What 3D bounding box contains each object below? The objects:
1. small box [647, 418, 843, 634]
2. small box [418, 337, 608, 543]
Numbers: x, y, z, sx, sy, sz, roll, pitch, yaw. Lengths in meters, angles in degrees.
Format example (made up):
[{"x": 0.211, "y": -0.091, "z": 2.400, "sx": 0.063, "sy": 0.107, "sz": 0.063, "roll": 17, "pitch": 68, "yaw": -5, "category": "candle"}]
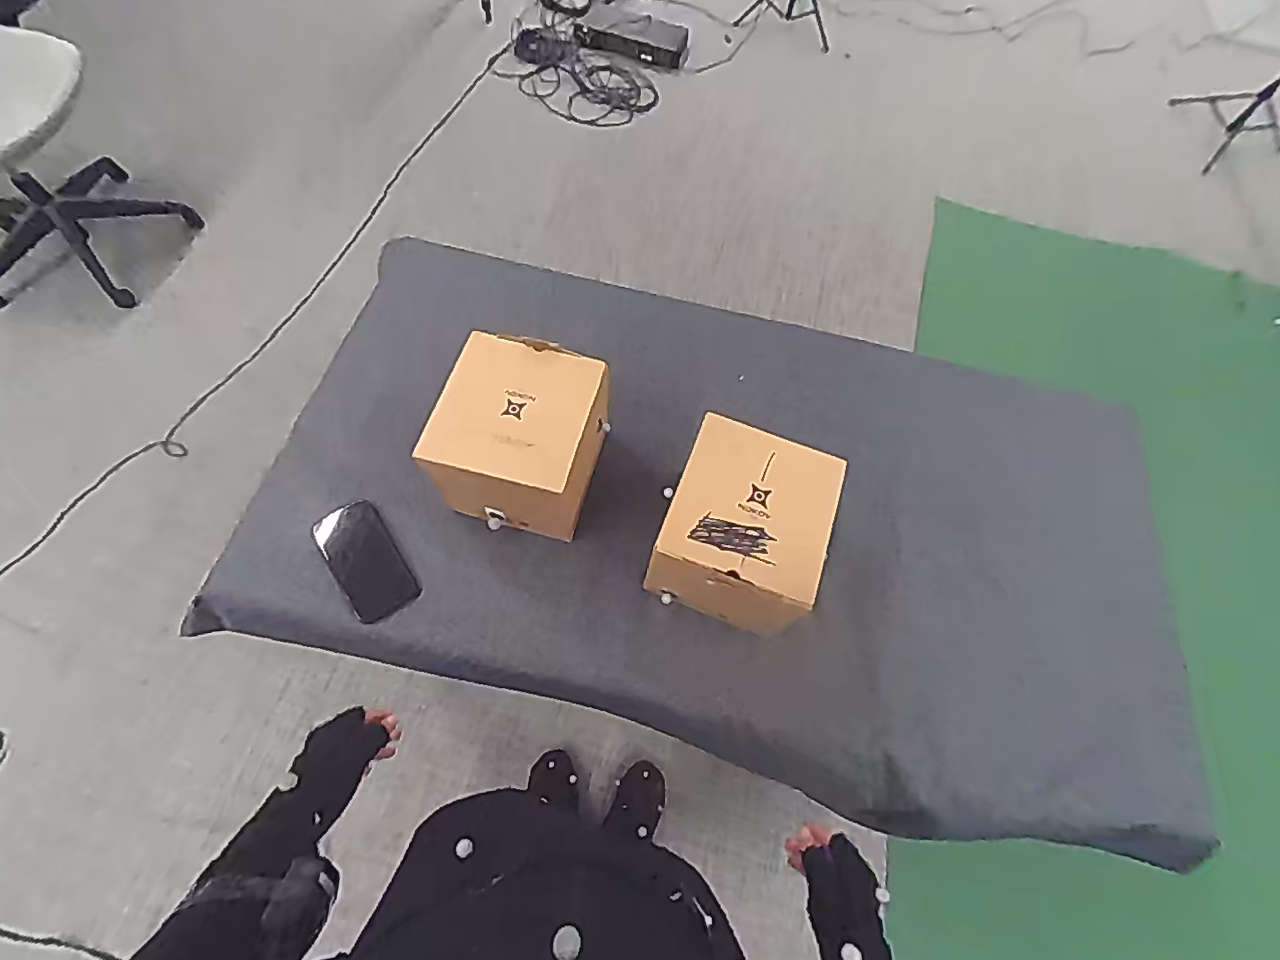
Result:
[{"x": 0.113, "y": 0.063, "z": 0.637, "sx": 0.168, "sy": 0.176, "sz": 0.179, "roll": 21, "pitch": 64, "yaw": 6, "category": "small box"}, {"x": -0.141, "y": -0.042, "z": 0.670, "sx": 0.168, "sy": 0.176, "sz": 0.179, "roll": 13, "pitch": 66, "yaw": 3, "category": "small box"}]
